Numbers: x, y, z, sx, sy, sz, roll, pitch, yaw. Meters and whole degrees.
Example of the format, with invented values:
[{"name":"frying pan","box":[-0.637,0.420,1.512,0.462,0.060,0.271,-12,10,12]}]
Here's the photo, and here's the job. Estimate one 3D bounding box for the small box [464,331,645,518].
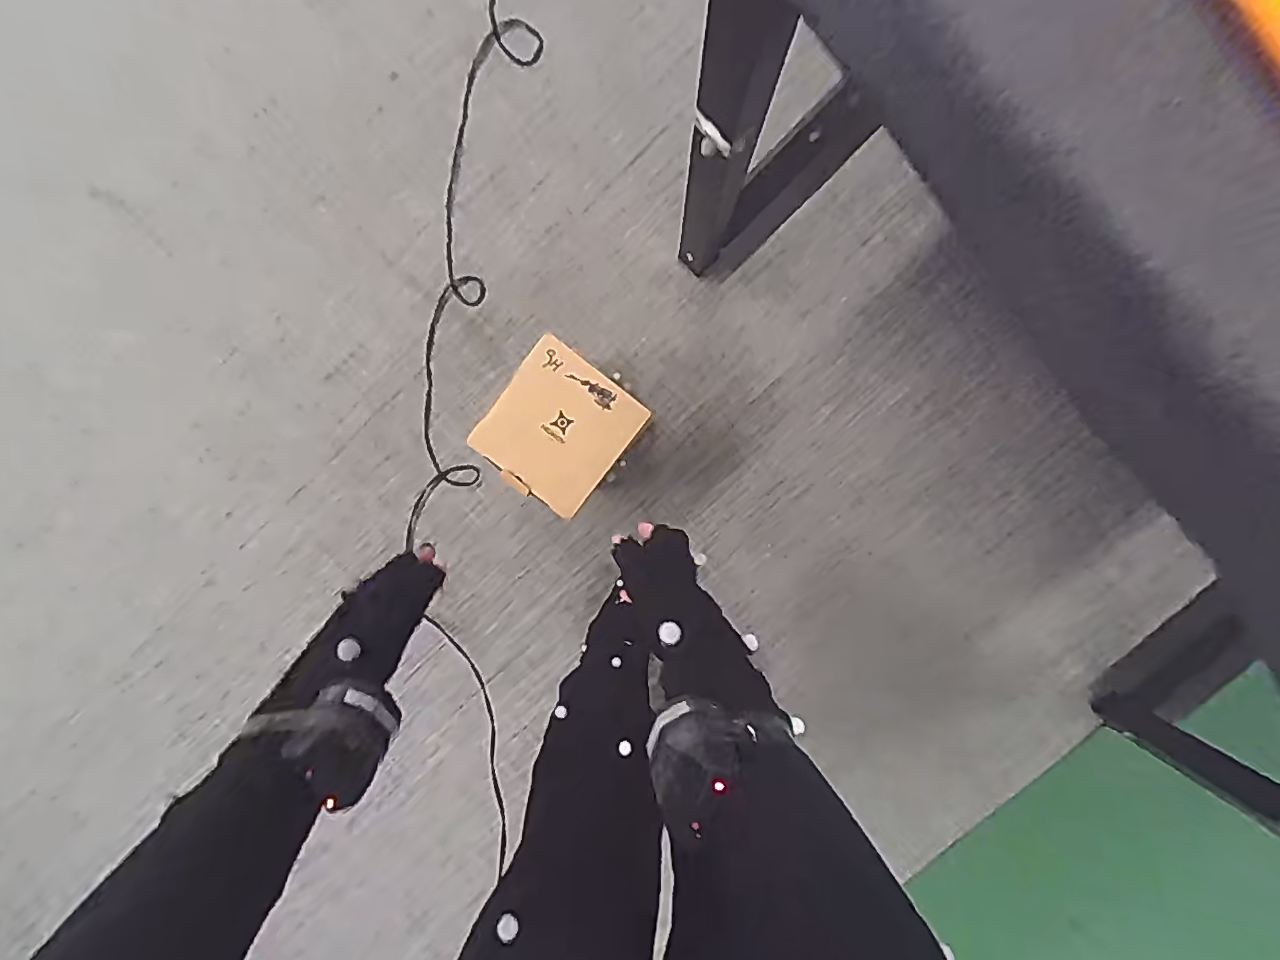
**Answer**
[{"name":"small box","box":[-0.103,-0.072,0.749,0.168,0.176,0.179,36,95,0]}]
